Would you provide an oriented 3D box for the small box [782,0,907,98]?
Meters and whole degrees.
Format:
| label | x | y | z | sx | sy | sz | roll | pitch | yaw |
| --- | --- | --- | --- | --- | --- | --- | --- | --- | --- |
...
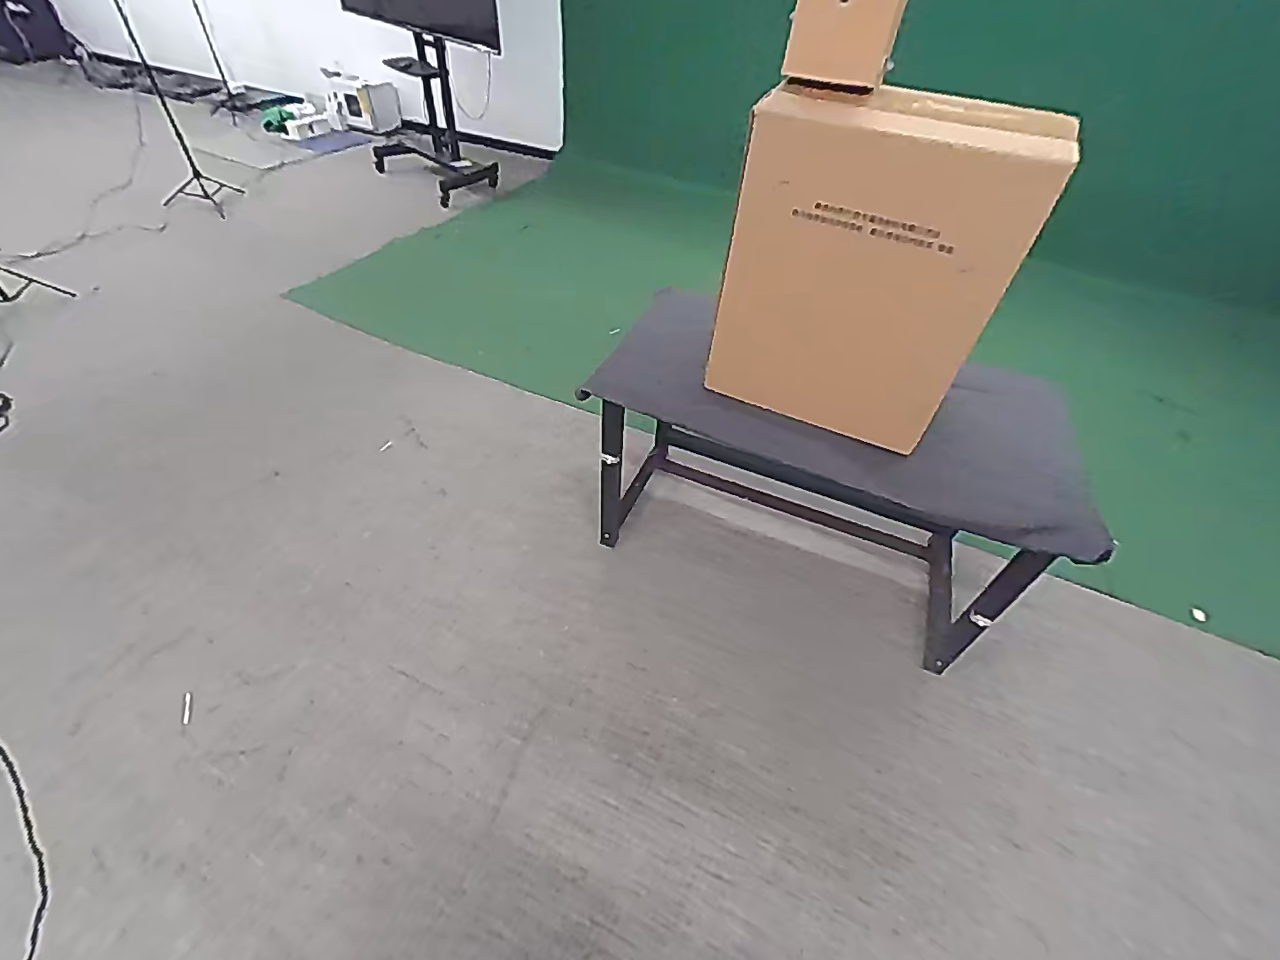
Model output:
| label | x | y | z | sx | sy | sz | roll | pitch | yaw |
| --- | --- | --- | --- | --- | --- | --- | --- | --- | --- |
| small box | 0.387 | -0.845 | 1.027 | 0.179 | 0.176 | 0.168 | 21 | 41 | 13 |
